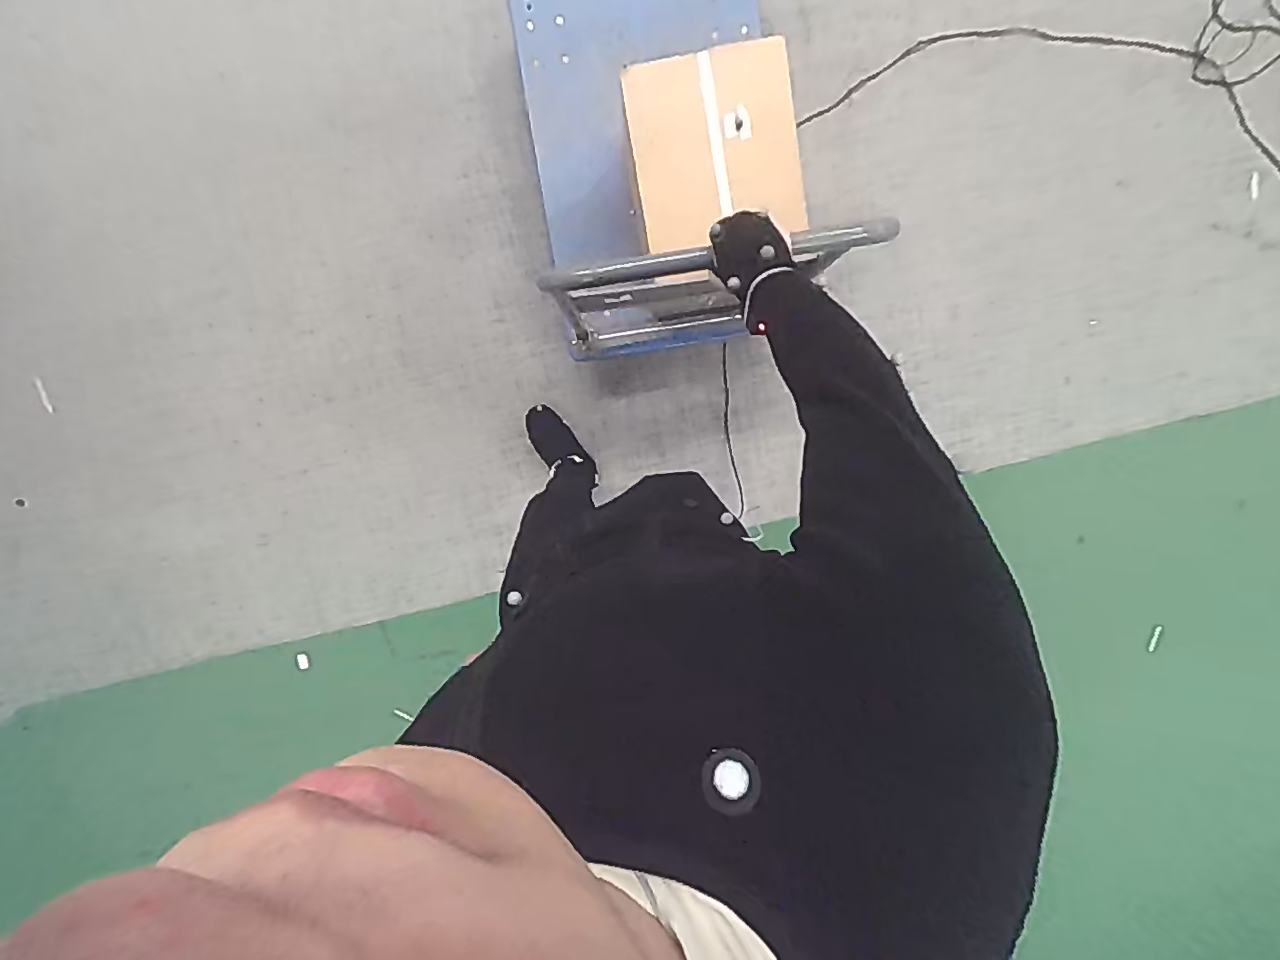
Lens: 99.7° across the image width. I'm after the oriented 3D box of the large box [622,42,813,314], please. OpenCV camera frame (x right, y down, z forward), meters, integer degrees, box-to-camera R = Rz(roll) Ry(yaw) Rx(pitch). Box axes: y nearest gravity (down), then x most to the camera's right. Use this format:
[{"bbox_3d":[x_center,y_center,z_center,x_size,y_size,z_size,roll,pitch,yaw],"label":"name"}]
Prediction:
[{"bbox_3d":[0.154,-0.616,1.183,0.320,0.320,0.408,-11,99,0],"label":"large box"}]
